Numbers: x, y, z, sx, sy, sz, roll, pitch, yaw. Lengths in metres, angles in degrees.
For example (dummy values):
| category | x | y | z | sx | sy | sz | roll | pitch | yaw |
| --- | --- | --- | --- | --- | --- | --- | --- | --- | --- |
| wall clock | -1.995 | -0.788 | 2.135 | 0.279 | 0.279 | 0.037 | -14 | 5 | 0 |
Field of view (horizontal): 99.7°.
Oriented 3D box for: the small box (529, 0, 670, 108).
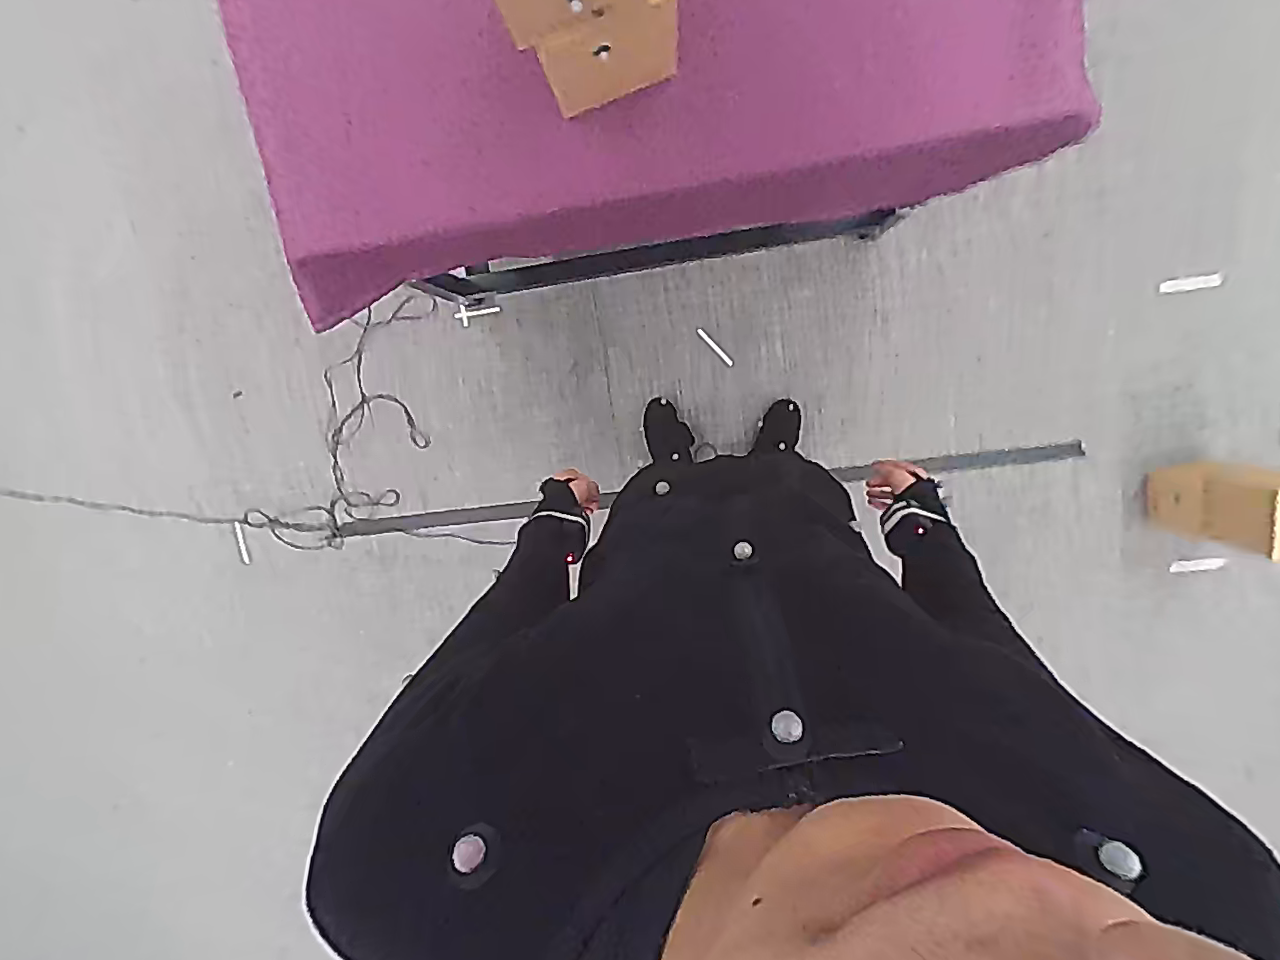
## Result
| category | x | y | z | sx | sy | sz | roll | pitch | yaw |
| --- | --- | --- | --- | --- | --- | --- | --- | --- | --- |
| small box | -0.066 | -0.625 | 0.695 | 0.179 | 0.176 | 0.168 | -19 | 99 | 6 |

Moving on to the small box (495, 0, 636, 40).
| category | x | y | z | sx | sy | sz | roll | pitch | yaw |
| --- | --- | --- | --- | --- | --- | --- | --- | --- | --- |
| small box | -0.098 | -0.599 | 0.534 | 0.168 | 0.176 | 0.179 | -13 | 99 | 7 |

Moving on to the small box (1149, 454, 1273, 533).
| category | x | y | z | sx | sy | sz | roll | pitch | yaw |
| --- | --- | --- | --- | --- | --- | --- | --- | --- | --- |
| small box | 1.530 | 0.032 | 1.462 | 0.179 | 0.176 | 0.168 | -11 | 100 | 5 |
